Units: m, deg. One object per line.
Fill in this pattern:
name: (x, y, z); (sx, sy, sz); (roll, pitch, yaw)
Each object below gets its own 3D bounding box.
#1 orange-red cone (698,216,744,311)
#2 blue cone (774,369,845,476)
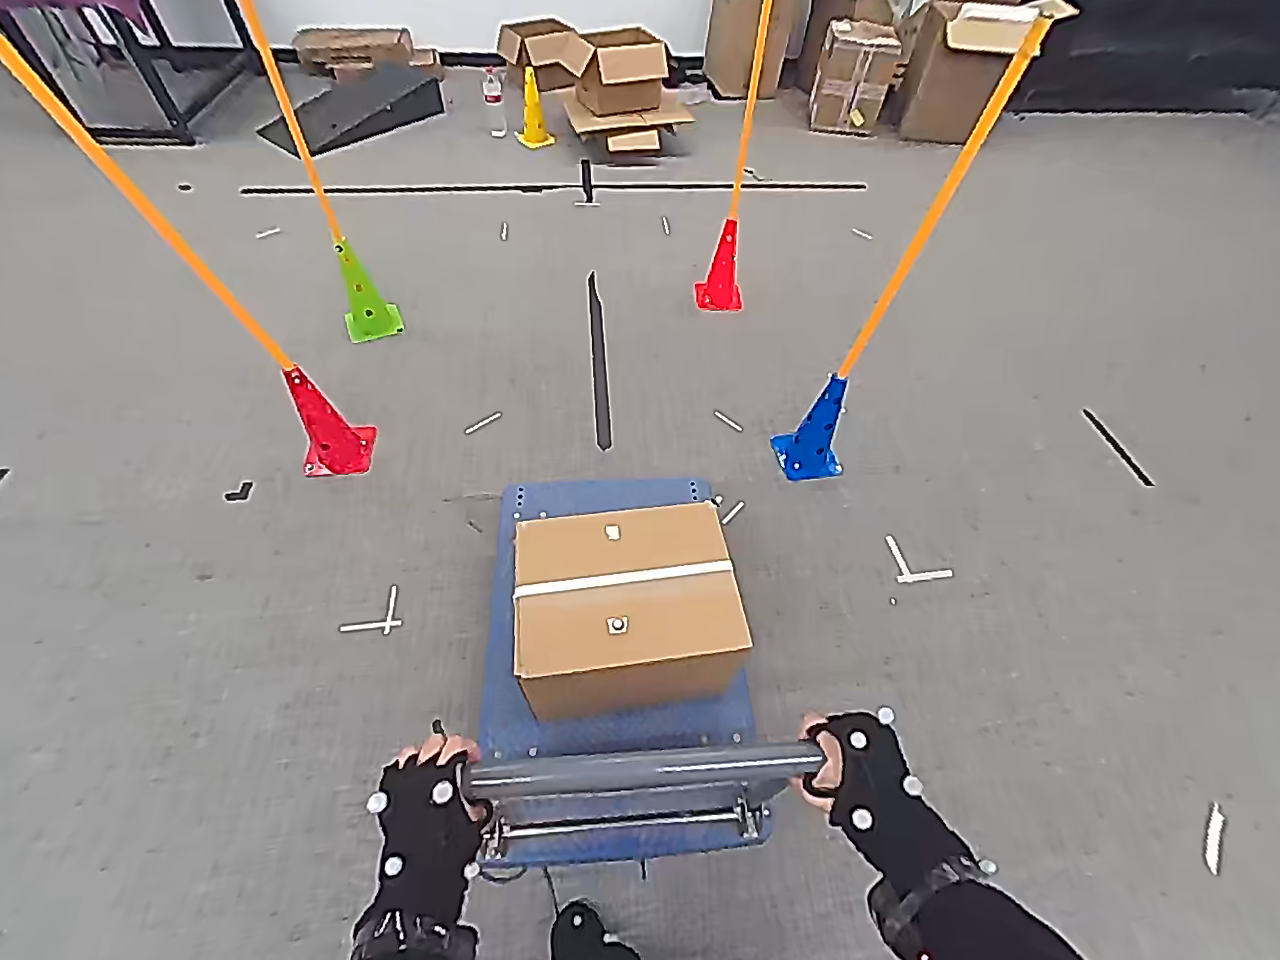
orange-red cone: (0.363, -0.911, 2.242); (0.199, 0.360, 0.198); (3, 53, -2)
blue cone: (0.580, -0.191, 1.727); (0.193, 0.380, 0.192); (-6, 52, -8)
